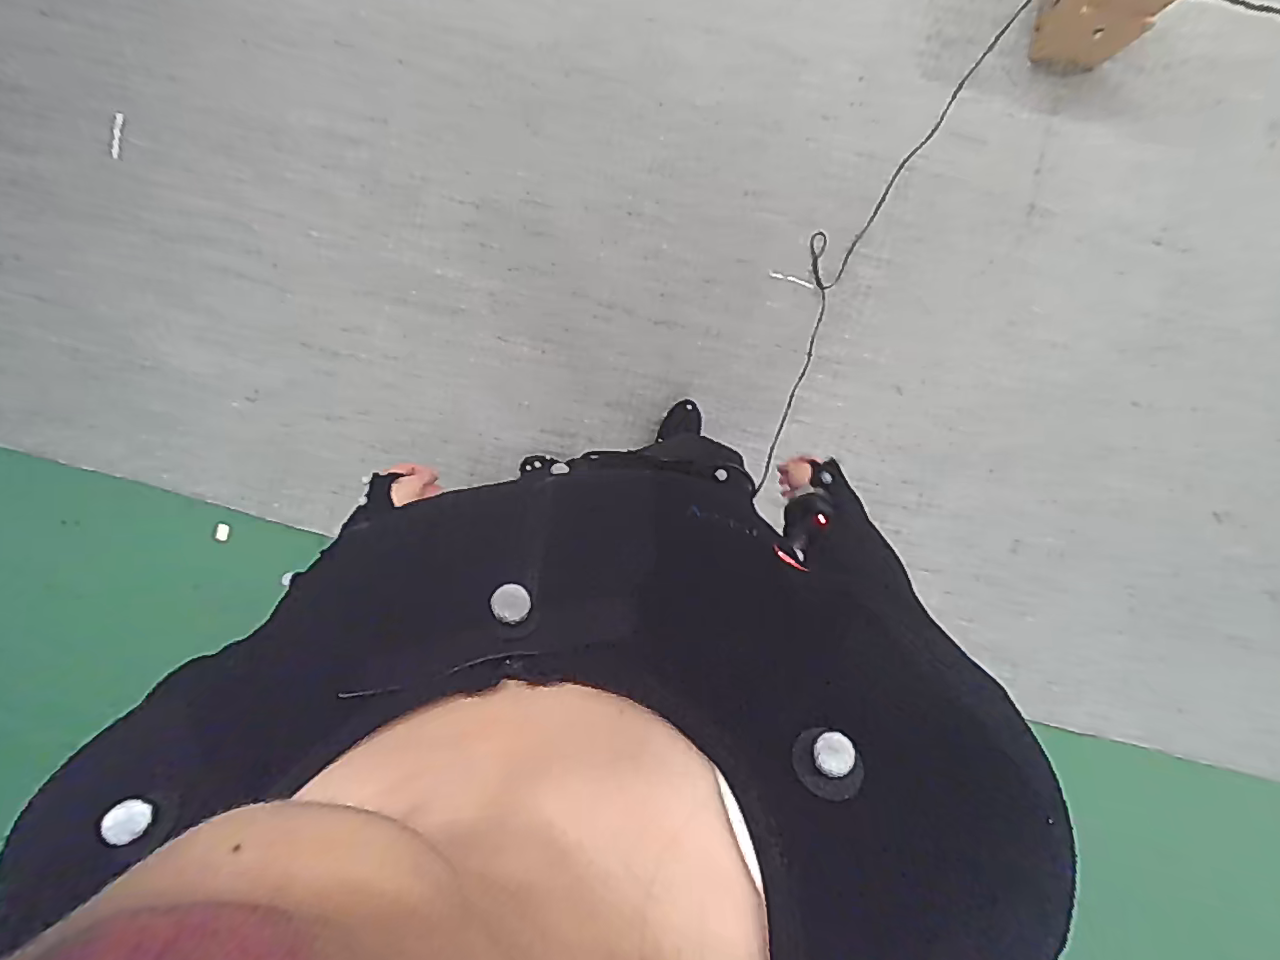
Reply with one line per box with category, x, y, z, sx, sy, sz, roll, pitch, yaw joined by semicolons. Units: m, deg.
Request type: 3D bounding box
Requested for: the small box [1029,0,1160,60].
small box;1.040;-1.103;1.233;0.179;0.176;0.168;7;98;-1
